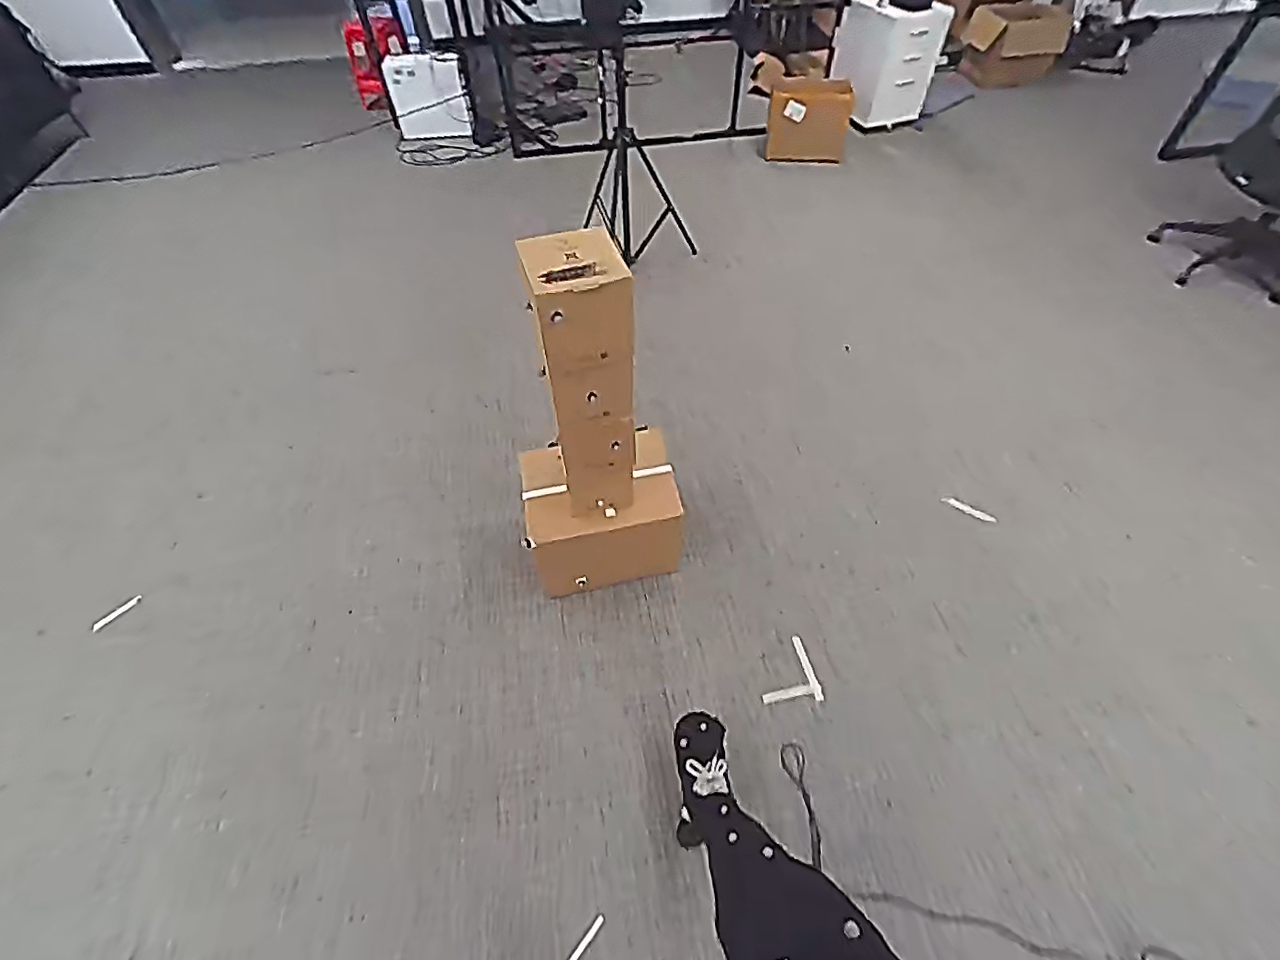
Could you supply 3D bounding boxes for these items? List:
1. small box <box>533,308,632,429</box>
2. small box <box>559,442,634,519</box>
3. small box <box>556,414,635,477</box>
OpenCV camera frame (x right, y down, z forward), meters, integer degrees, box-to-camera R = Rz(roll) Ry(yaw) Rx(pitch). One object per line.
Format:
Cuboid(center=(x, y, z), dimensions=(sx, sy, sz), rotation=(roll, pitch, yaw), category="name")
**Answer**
Cuboid(center=(-0.115, -0.224, 1.121), dimensions=(0.168, 0.176, 0.179), rotation=(-14, 54, -12), category="small box")
Cuboid(center=(-0.112, -0.027, 1.382), dimensions=(0.168, 0.176, 0.179), rotation=(-11, 54, -7), category="small box")
Cuboid(center=(-0.108, -0.122, 1.251), dimensions=(0.168, 0.176, 0.179), rotation=(-11, 52, -9), category="small box")
